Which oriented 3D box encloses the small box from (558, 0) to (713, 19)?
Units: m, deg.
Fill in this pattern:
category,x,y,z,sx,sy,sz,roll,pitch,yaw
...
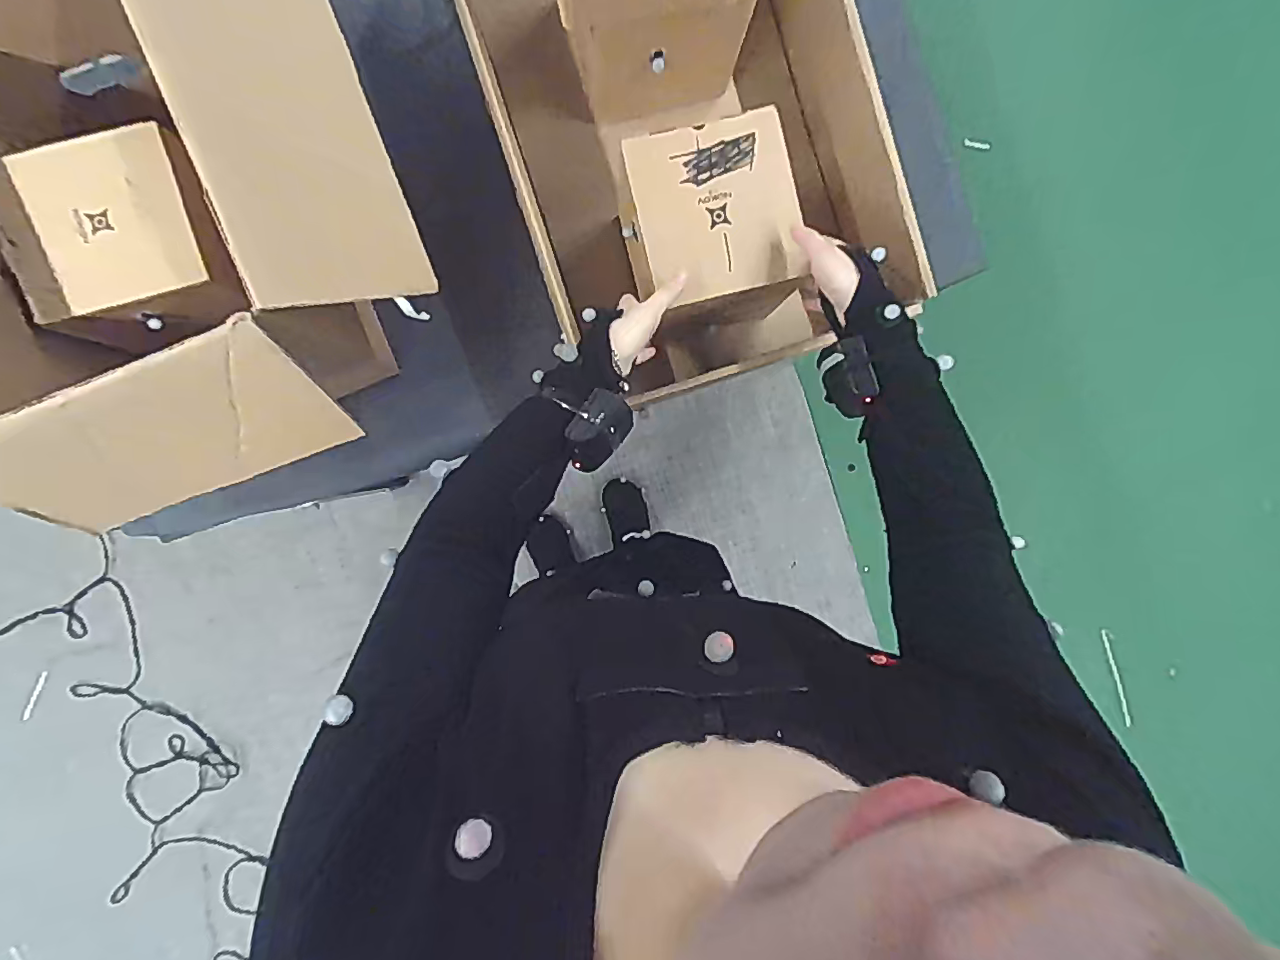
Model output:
category,x,y,z,sx,sy,sz,roll,pitch,yaw
small box,-0.003,-0.534,0.449,0.179,0.176,0.168,-12,95,-3
